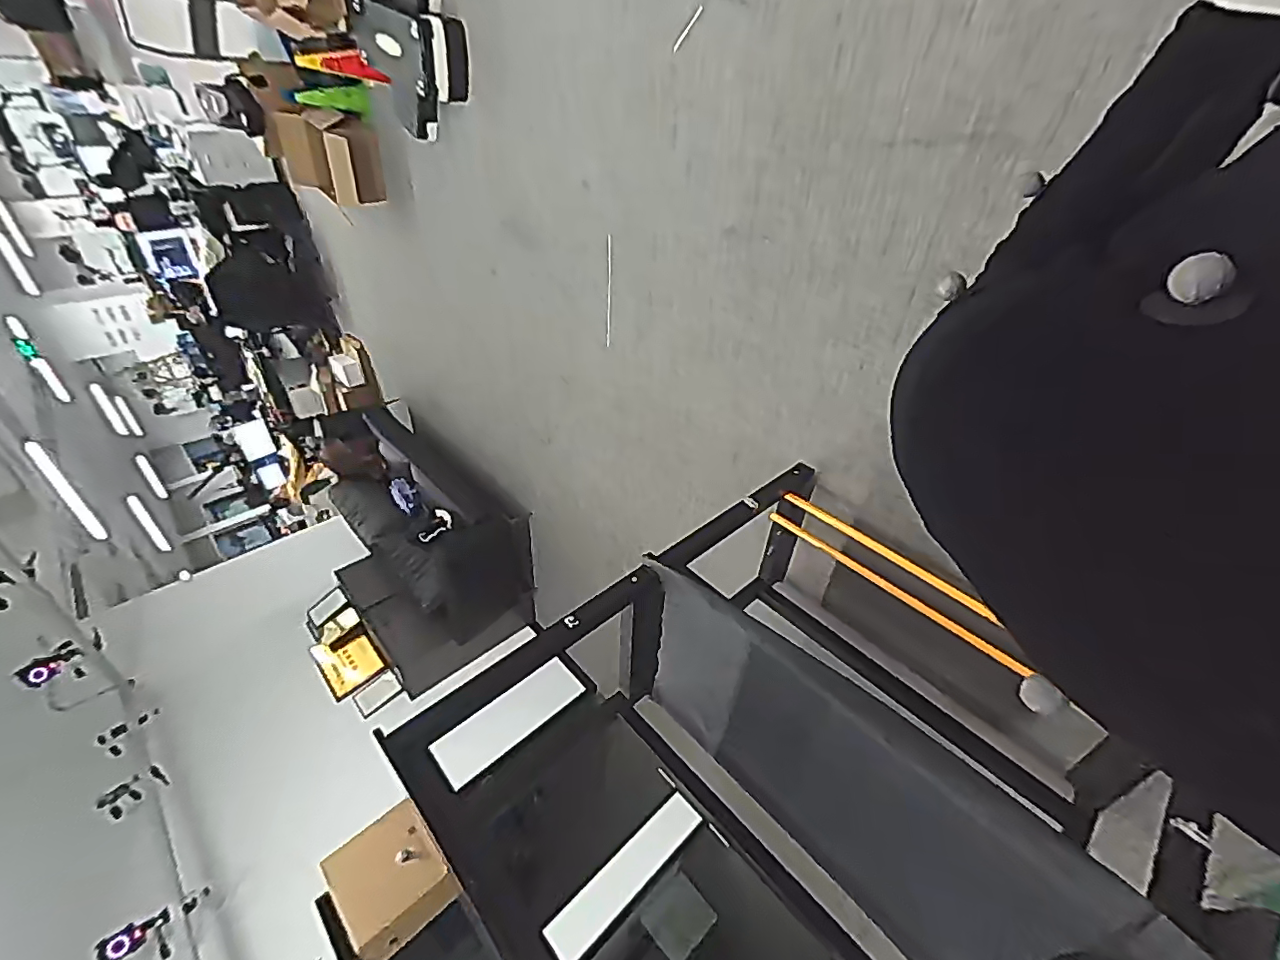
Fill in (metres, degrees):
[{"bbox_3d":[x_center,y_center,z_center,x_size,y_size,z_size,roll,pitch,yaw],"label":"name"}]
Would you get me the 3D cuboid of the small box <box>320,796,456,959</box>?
[{"bbox_3d":[-0.462,0.742,1.015,0.168,0.176,0.179,39,139,29],"label":"small box"}]
